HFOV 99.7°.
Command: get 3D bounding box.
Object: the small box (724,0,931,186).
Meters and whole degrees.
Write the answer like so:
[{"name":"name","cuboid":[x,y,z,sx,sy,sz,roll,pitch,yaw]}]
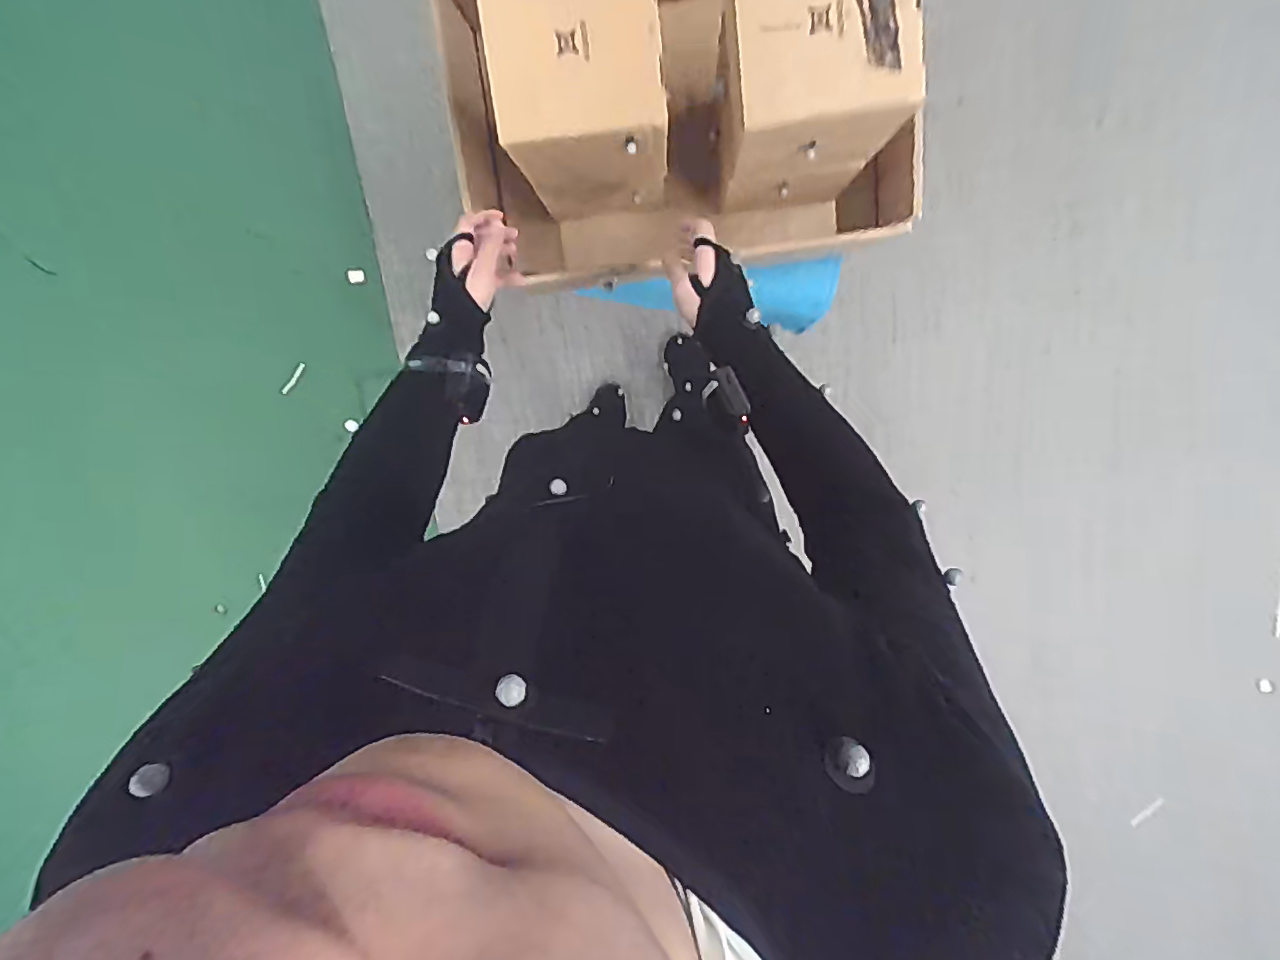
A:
[{"name":"small box","cuboid":[0.188,-0.440,0.585,0.179,0.176,0.168,-5,101,7]}]
